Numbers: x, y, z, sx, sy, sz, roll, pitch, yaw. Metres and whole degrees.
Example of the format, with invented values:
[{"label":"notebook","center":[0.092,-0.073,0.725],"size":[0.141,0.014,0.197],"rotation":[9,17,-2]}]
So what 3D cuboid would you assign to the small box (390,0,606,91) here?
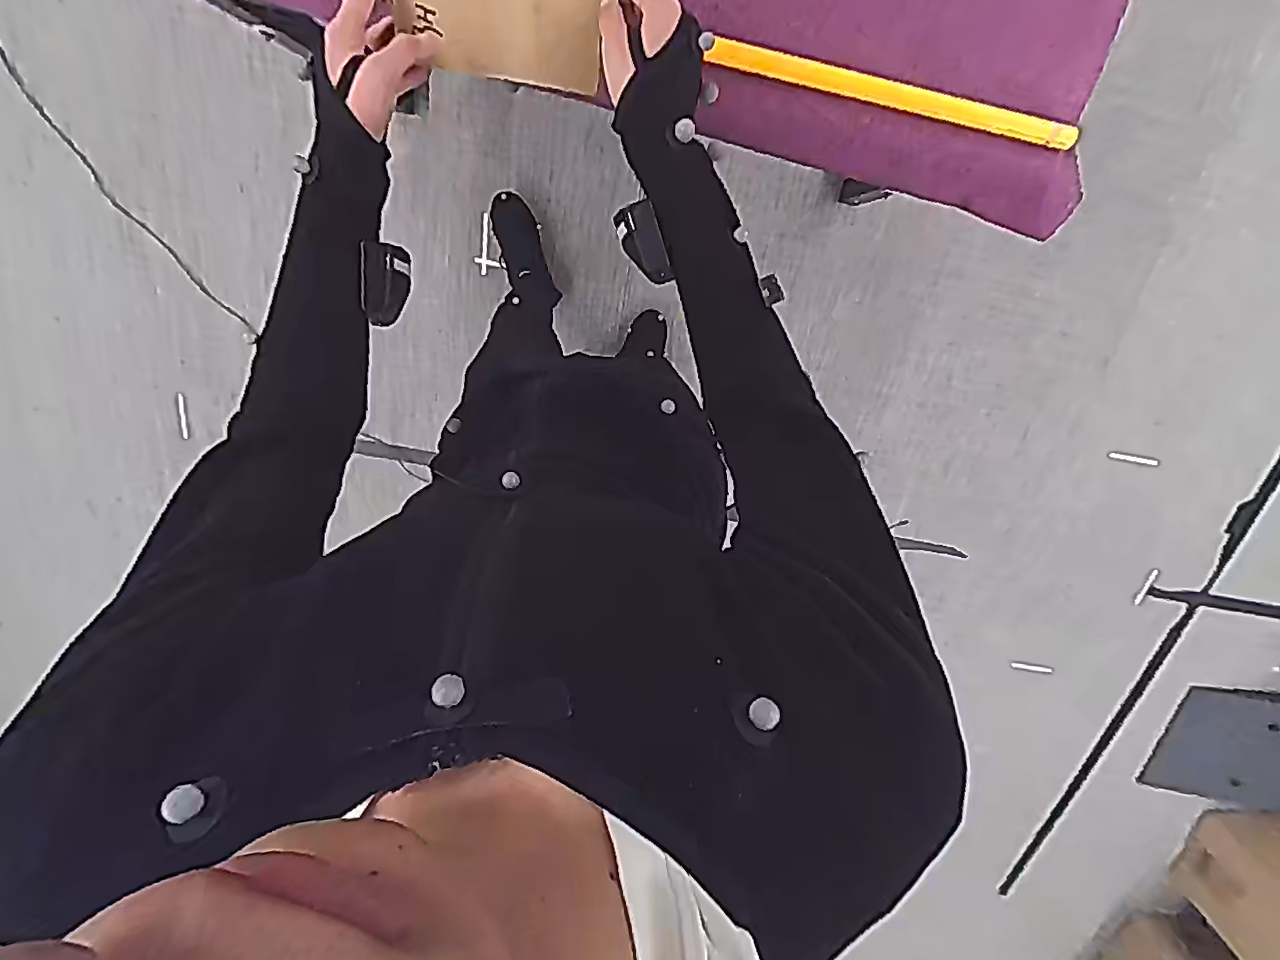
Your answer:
[{"label":"small box","center":[-0.120,-0.473,0.487],"size":[0.179,0.176,0.168],"rotation":[4,128,-10]}]
